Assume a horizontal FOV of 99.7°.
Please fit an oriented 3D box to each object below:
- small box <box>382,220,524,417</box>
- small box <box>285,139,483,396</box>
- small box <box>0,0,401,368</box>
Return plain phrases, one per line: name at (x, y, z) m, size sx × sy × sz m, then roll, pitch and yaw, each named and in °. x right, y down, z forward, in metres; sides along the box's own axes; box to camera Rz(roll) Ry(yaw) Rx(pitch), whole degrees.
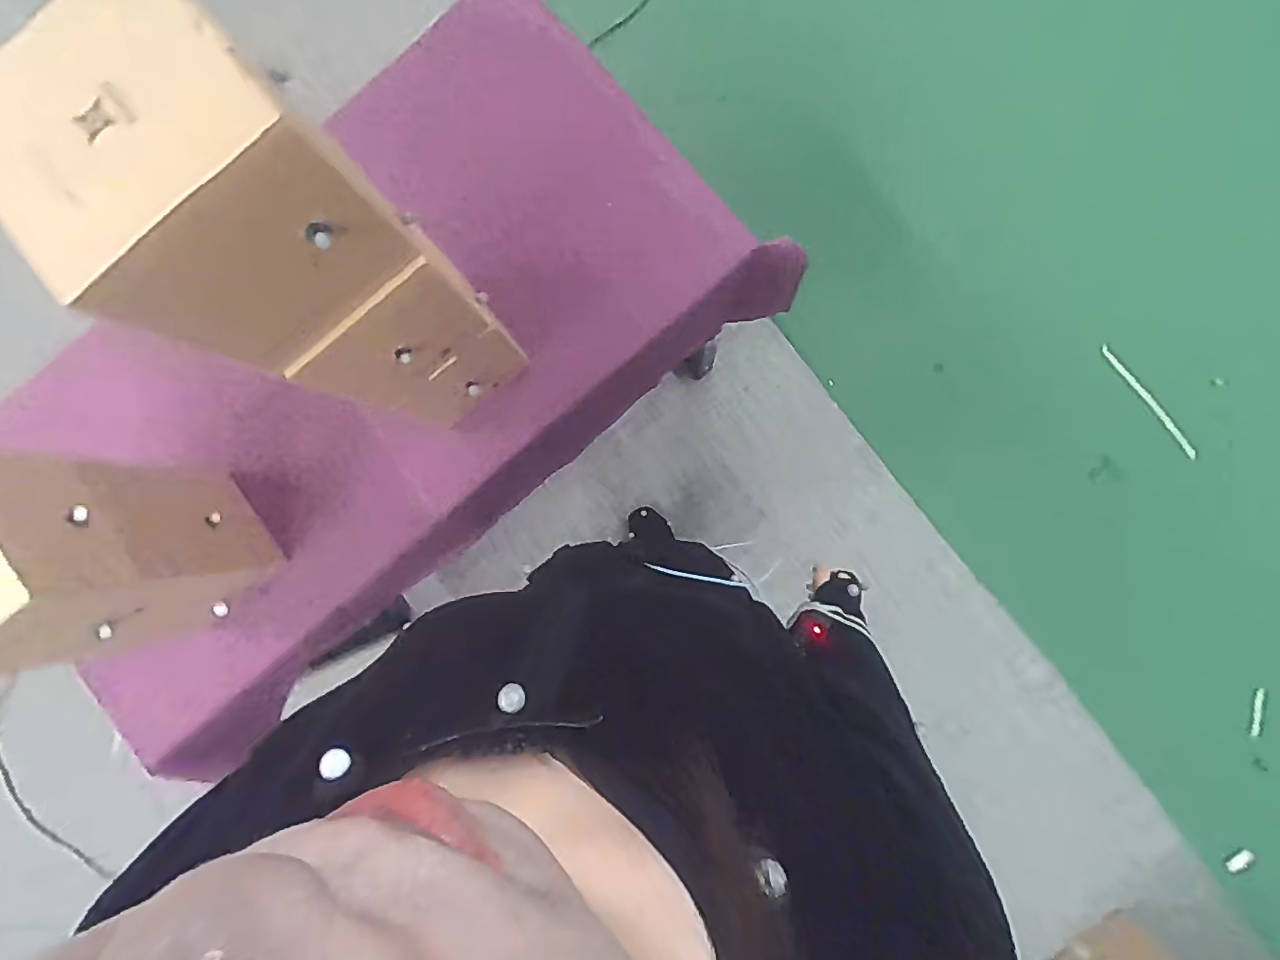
small box at (-0.284, -0.201, 0.734) m, size 0.168 × 0.176 × 0.179 m, roll -39°, pitch 87°, yaw 1°
small box at (-0.297, -0.205, 0.569) m, size 0.168 × 0.176 × 0.179 m, roll -39°, pitch 86°, yaw 1°
small box at (-0.313, -0.214, 0.407) m, size 0.179 × 0.176 × 0.168 m, roll -40°, pitch 85°, yaw 2°
